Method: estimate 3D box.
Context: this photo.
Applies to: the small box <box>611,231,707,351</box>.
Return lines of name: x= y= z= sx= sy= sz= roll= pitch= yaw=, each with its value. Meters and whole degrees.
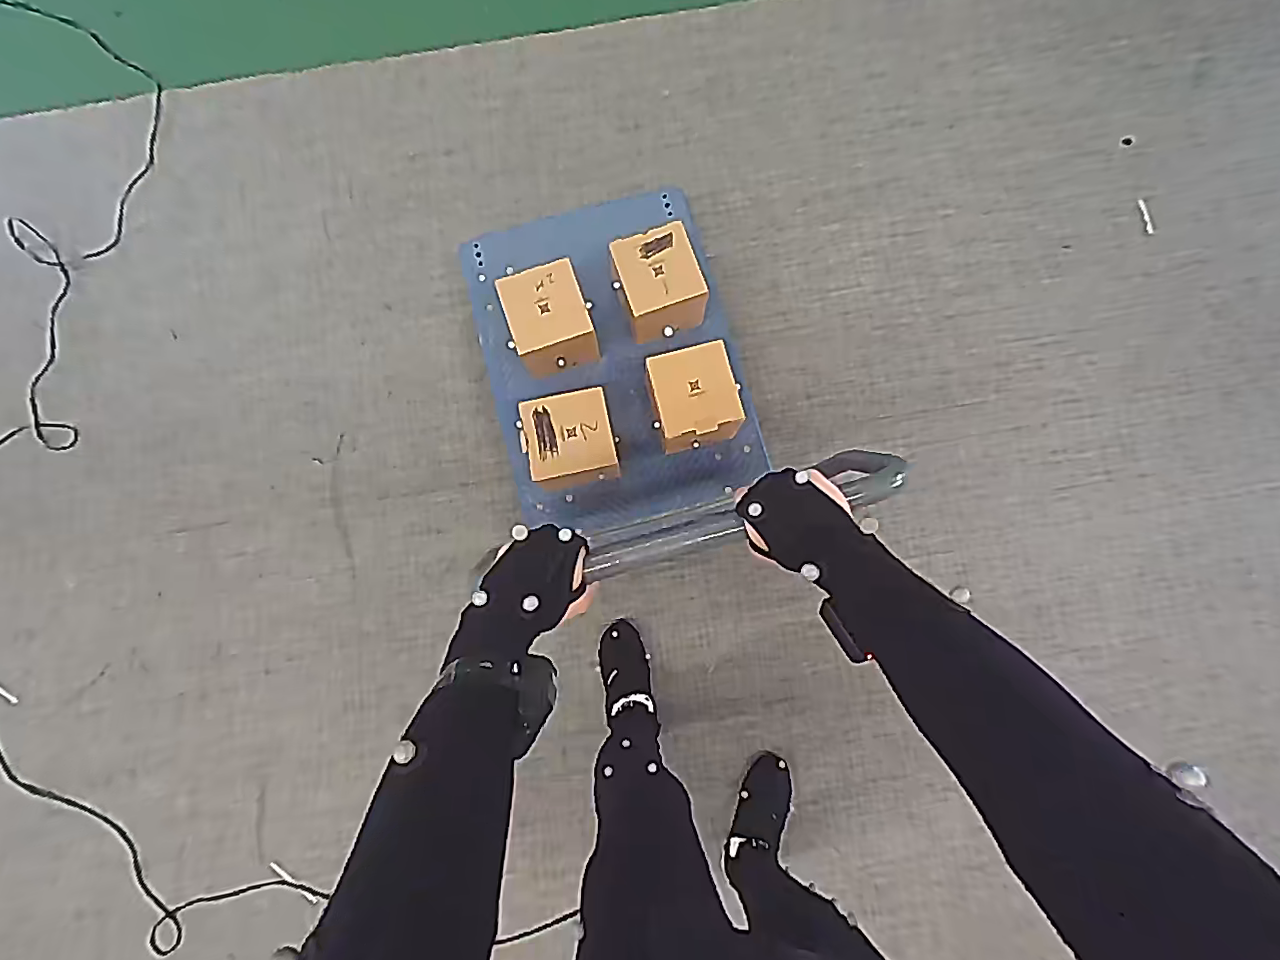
small box: x=0.040 y=-0.424 z=1.233 sx=0.168 sy=0.176 sz=0.179 roll=-19 pitch=83 yaw=-1

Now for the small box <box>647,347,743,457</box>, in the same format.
small box: x=0.112 y=-0.166 z=1.194 sx=0.168 sy=0.176 sz=0.179 roll=-14 pitch=82 yaw=-2

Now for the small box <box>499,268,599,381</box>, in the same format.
small box: x=-0.198 y=-0.340 z=1.223 sx=0.168 sy=0.176 sz=0.179 roll=-19 pitch=81 yaw=-3
